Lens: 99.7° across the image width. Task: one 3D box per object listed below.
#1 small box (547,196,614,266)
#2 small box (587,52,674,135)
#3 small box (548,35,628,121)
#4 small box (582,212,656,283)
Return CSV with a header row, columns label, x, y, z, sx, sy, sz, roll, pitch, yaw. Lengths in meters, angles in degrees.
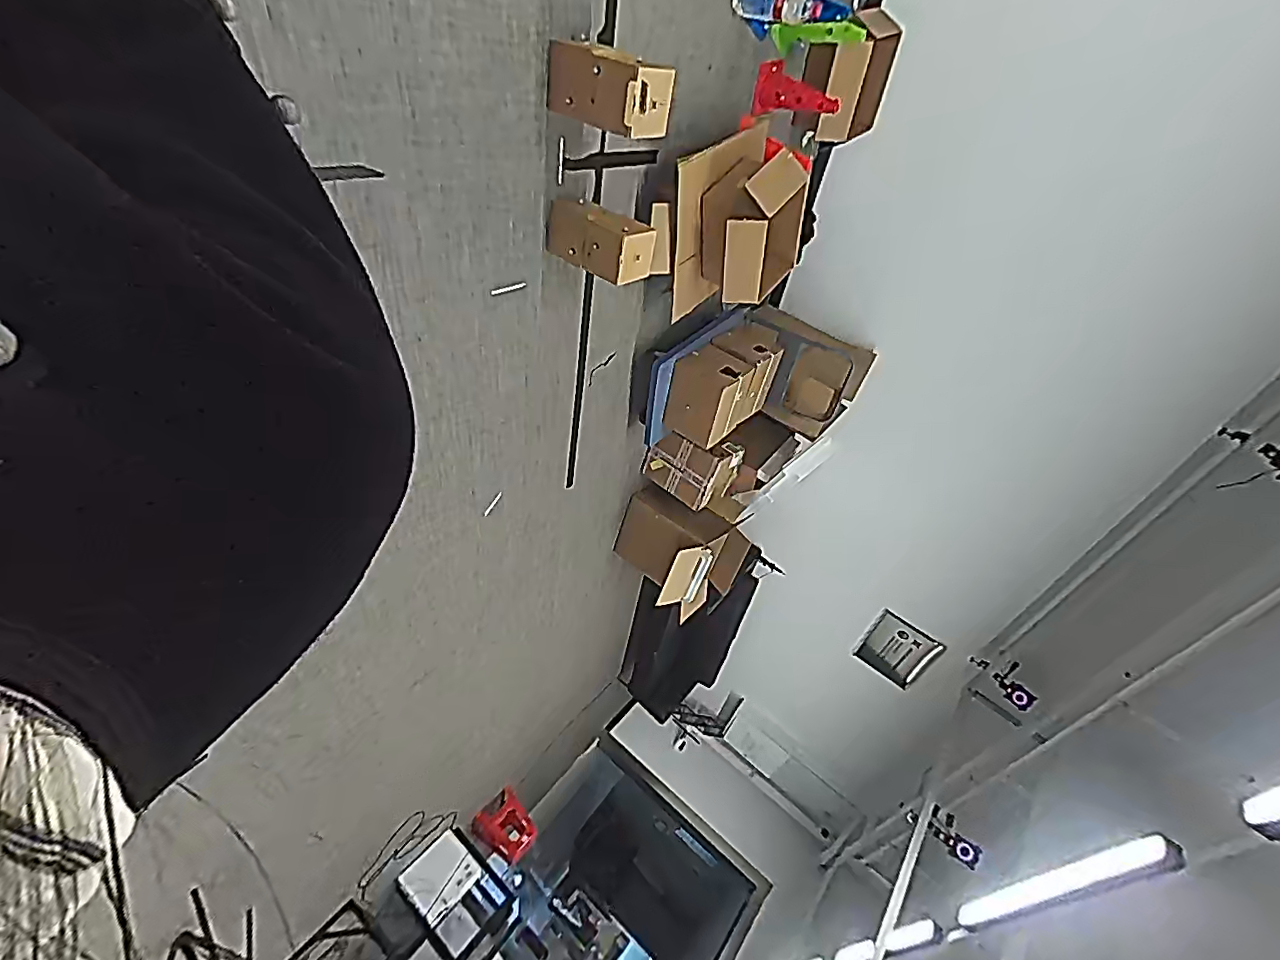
label,x,y,z,sx,sy,sz,roll,pitch,yaw
small box,-0.209,-0.880,1.904,0.168,0.176,0.179,-33,149,-44
small box,-0.033,-1.098,1.537,0.179,0.176,0.168,-37,151,-41
small box,-0.157,-1.187,1.597,0.168,0.176,0.179,-38,150,-38
small box,-0.076,-0.802,1.851,0.179,0.176,0.168,-35,150,-40
